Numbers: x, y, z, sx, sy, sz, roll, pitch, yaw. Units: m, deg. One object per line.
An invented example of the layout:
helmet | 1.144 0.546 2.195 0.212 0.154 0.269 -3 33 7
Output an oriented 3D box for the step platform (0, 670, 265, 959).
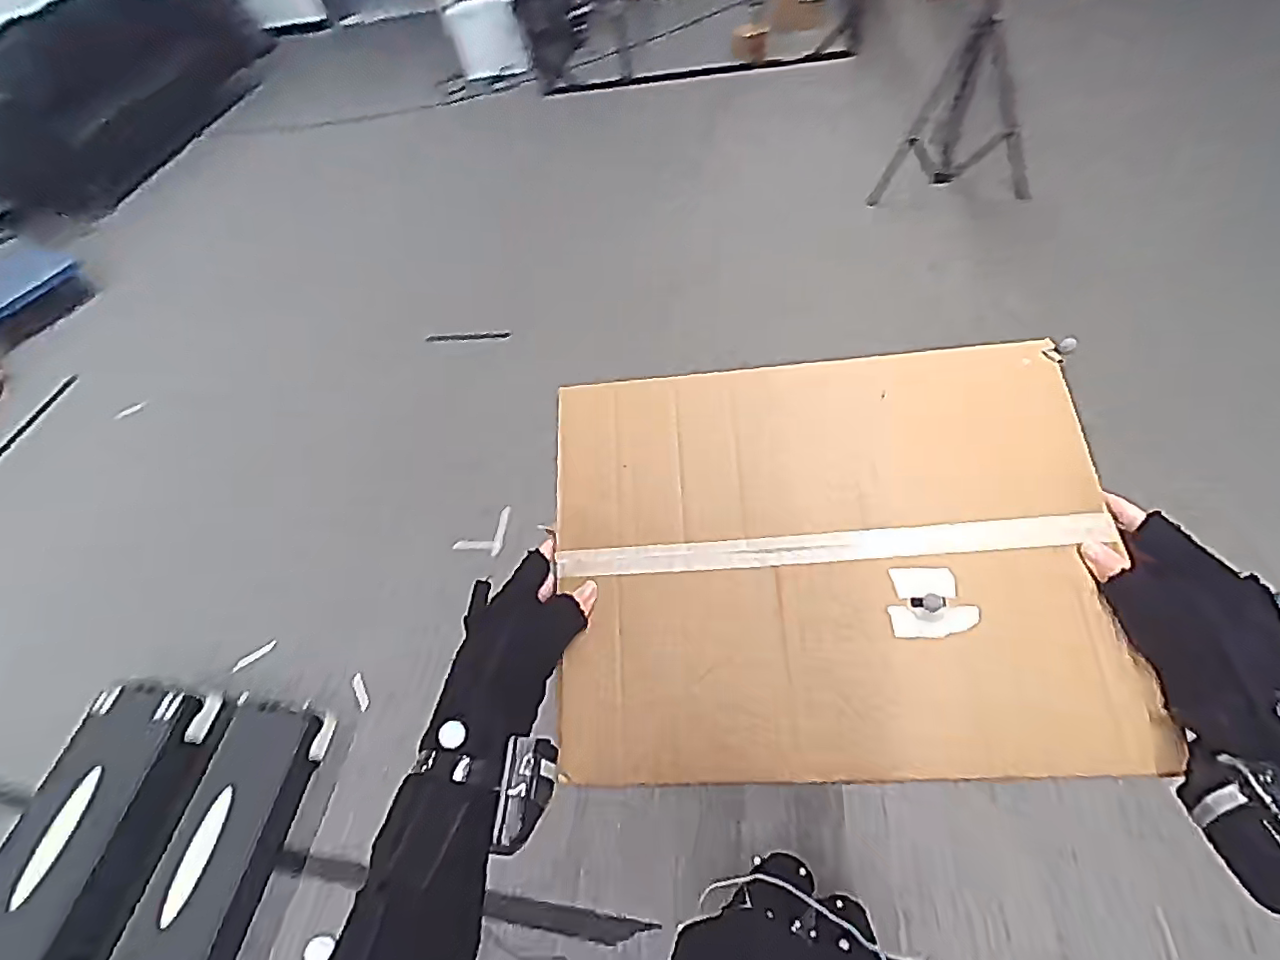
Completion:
step platform | -1.269 0.833 1.345 0.286 0.204 0.684 1 54 12

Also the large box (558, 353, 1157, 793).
large box | 0.150 0.107 0.559 0.408 0.320 0.320 -6 71 5
